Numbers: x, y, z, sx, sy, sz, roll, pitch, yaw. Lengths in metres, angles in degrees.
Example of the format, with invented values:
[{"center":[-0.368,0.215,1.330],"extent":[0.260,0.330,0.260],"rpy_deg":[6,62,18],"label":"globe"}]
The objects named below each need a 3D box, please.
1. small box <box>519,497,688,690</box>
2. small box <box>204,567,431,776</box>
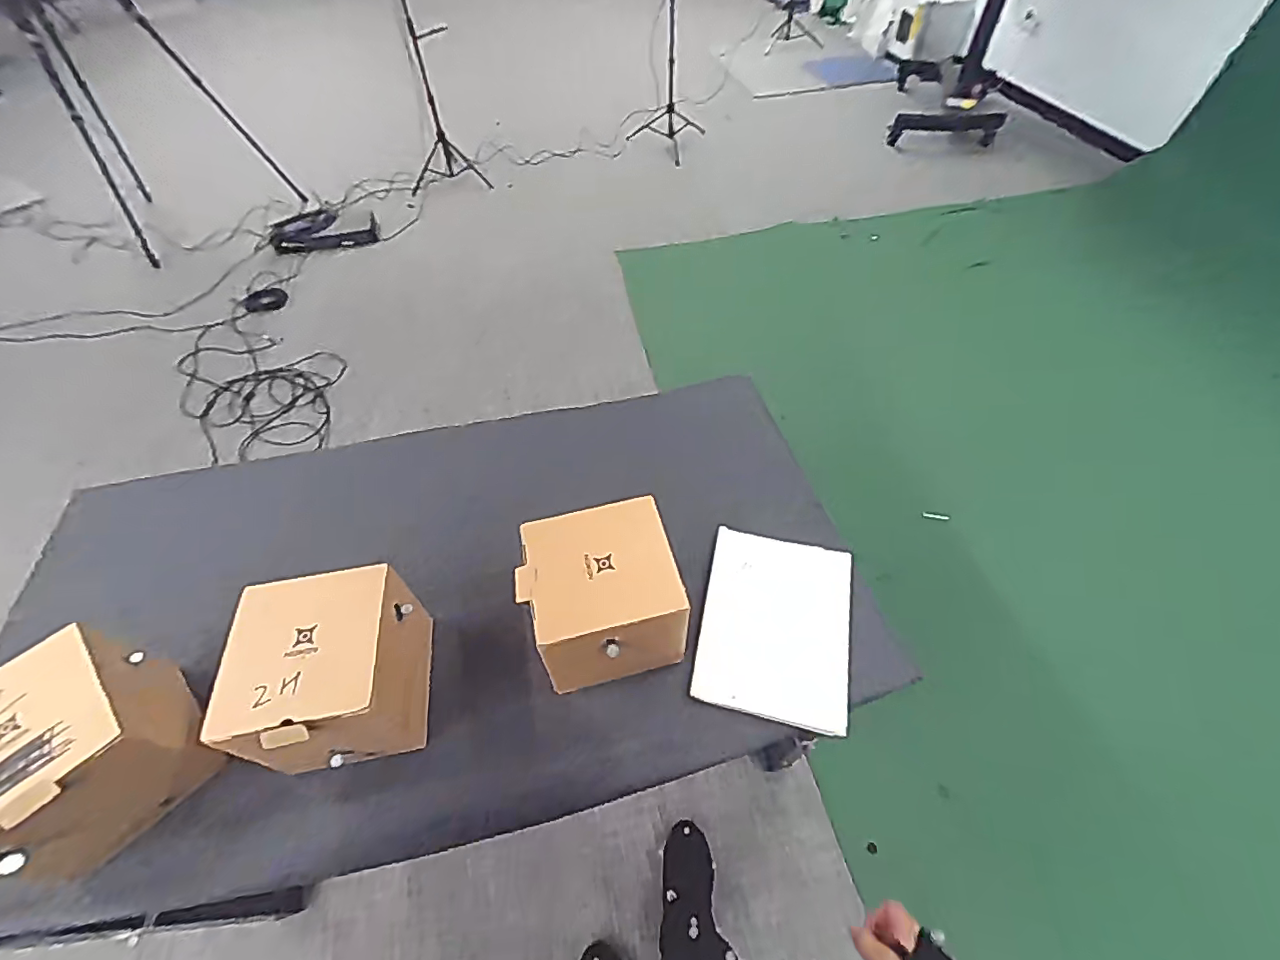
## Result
[{"center":[-0.046,0.151,0.704],"extent":[0.179,0.176,0.168],"rpy_deg":[-14,52,-7],"label":"small box"},{"center":[-0.364,0.233,0.654],"extent":[0.168,0.176,0.179],"rpy_deg":[-10,52,-5],"label":"small box"}]
